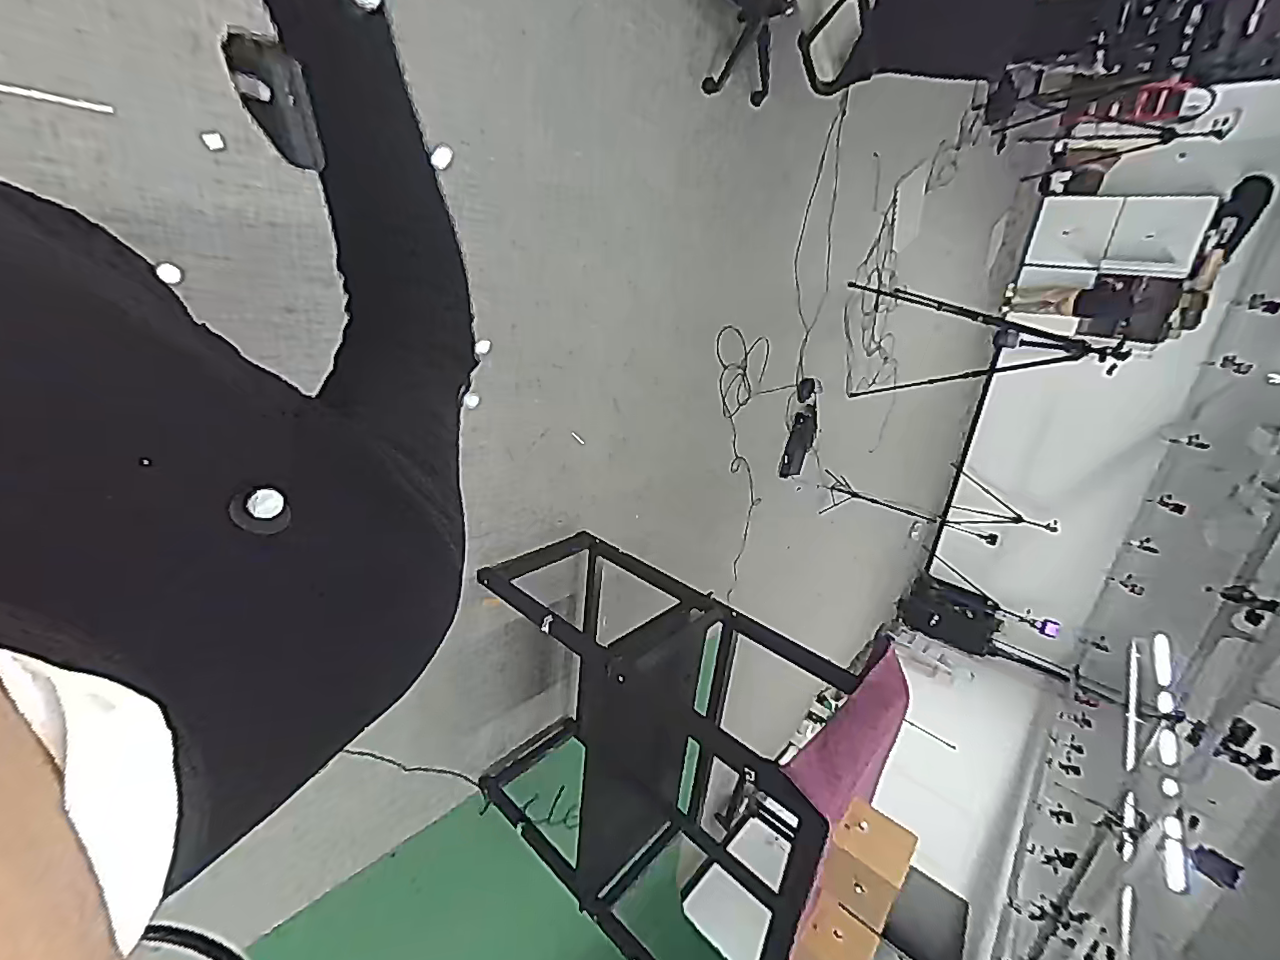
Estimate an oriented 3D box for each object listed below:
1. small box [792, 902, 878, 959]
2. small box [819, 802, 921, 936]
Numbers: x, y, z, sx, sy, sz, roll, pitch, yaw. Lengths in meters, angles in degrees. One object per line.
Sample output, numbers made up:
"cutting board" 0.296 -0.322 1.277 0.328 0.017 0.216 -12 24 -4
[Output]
"small box" 0.528 1.322 1.491 0.168 0.176 0.179 -15 119 -46
"small box" 0.568 0.958 1.350 0.168 0.176 0.179 -19 121 -45
